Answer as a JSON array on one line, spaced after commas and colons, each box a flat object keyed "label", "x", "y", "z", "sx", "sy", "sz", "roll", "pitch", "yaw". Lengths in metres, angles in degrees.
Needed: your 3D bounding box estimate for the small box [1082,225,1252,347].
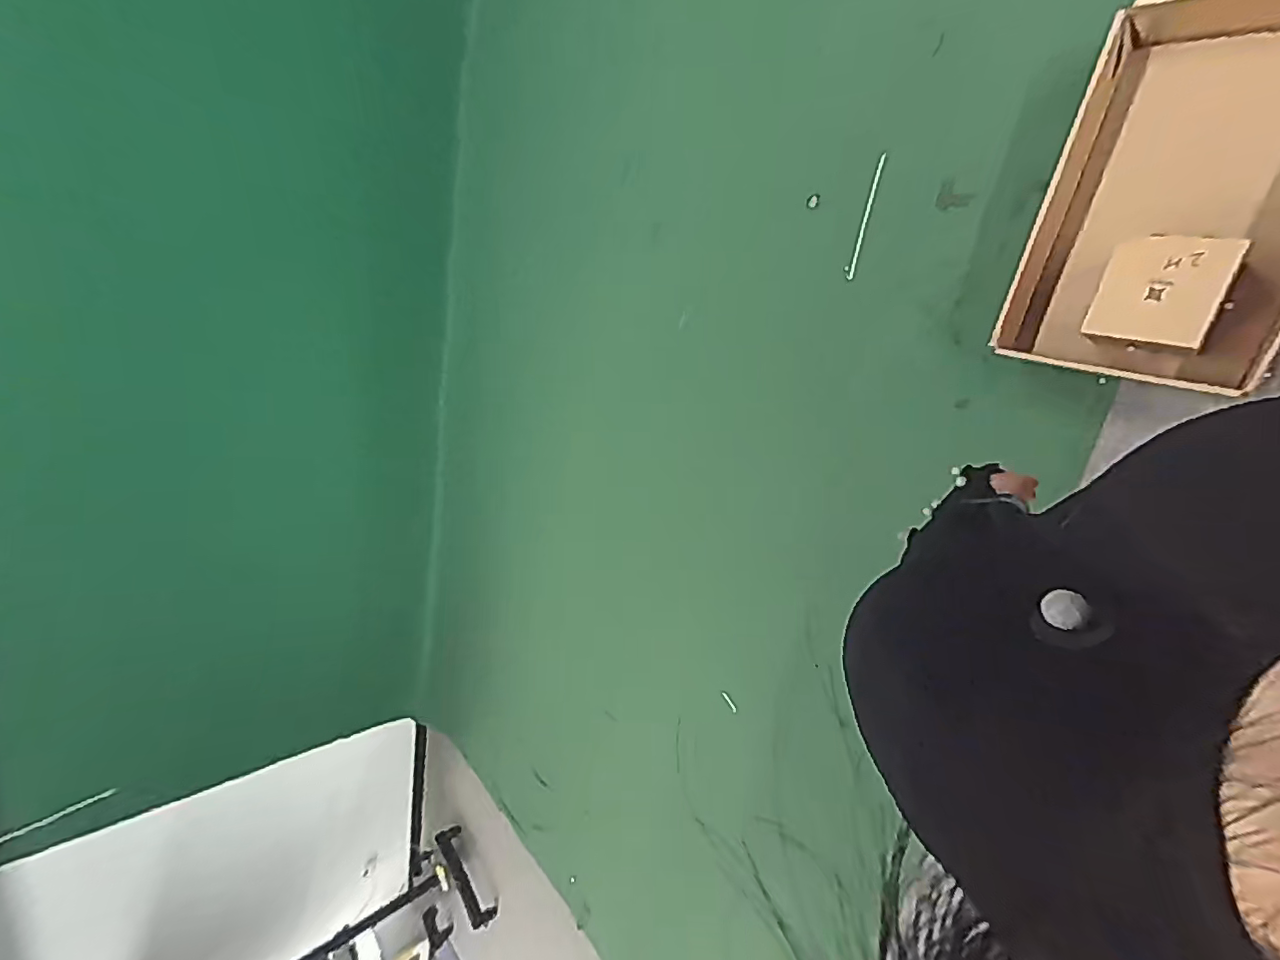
[{"label": "small box", "x": 0.940, "y": -0.343, "z": 0.974, "sx": 0.168, "sy": 0.176, "sz": 0.179, "roll": 26, "pitch": 112, "yaw": 39}]
